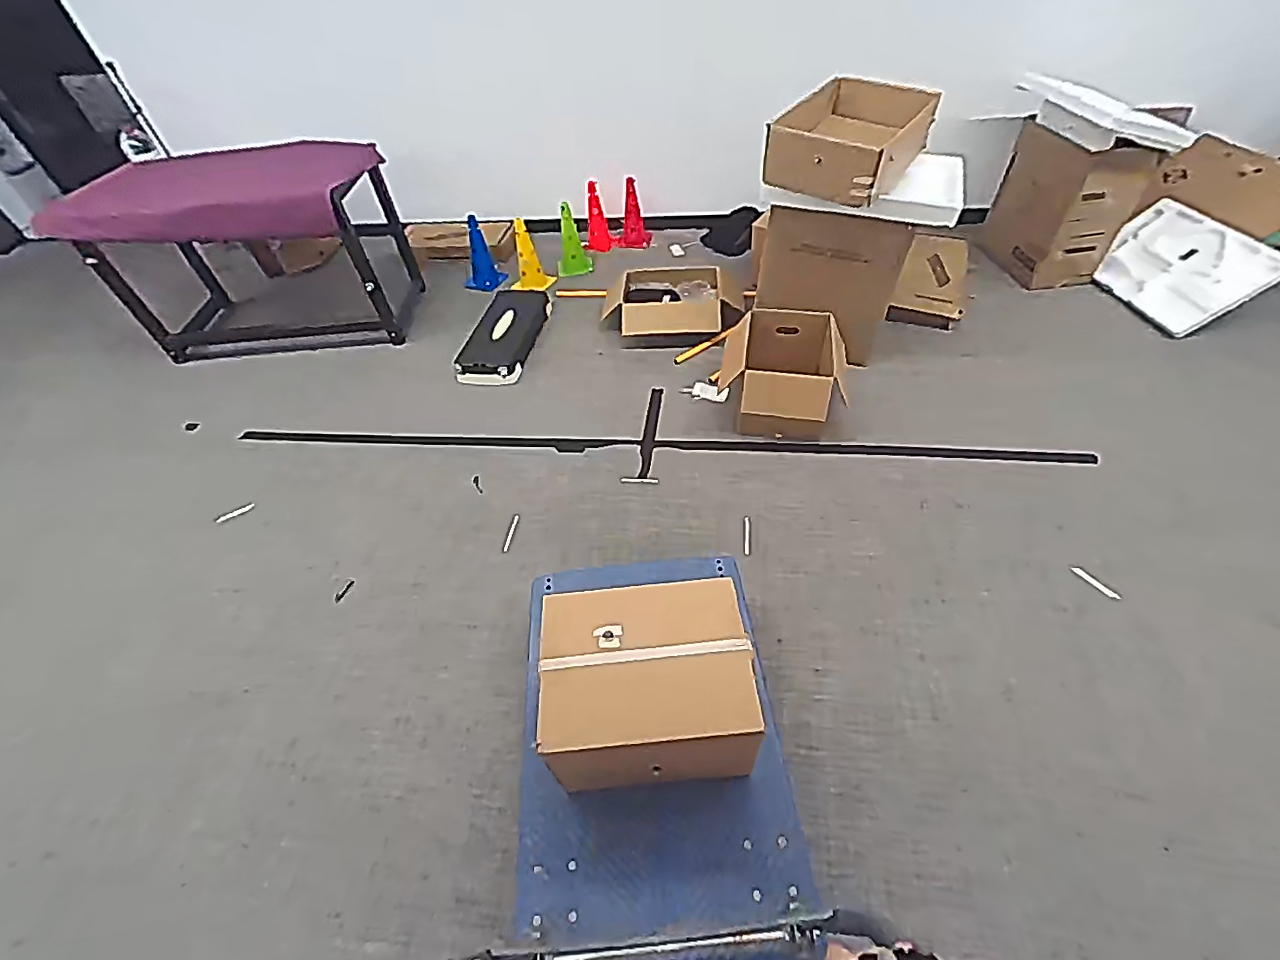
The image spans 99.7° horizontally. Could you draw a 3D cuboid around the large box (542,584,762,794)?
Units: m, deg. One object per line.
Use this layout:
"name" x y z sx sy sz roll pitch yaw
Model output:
"large box" 0.022 0.457 1.170 0.408 0.320 0.320 -7 48 0
